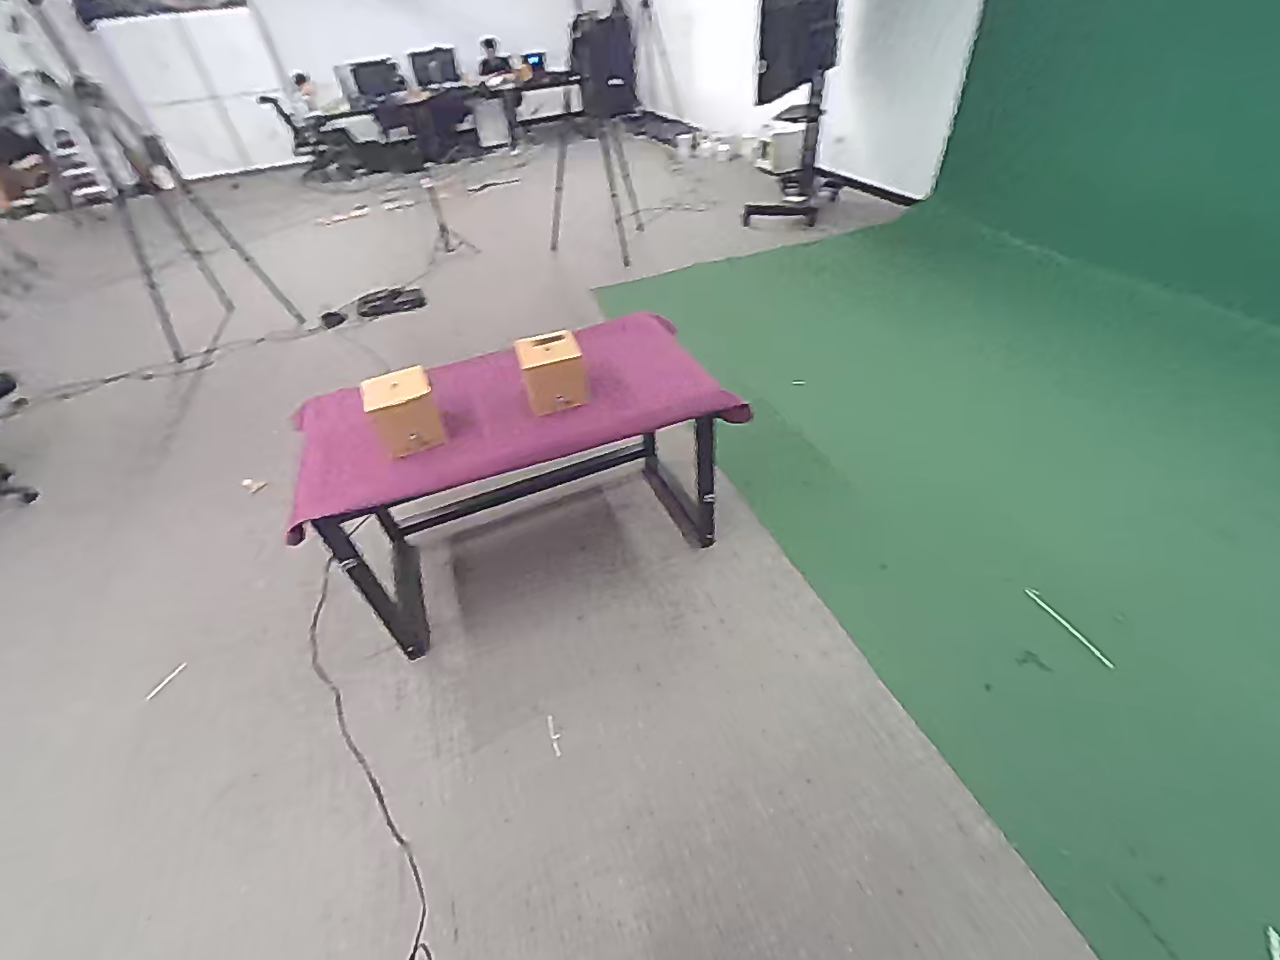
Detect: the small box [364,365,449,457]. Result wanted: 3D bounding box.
[{"bbox_3d":[-0.654,-0.192,1.516,0.168,0.176,0.179,-21,44,-15],"label":"small box"}]
